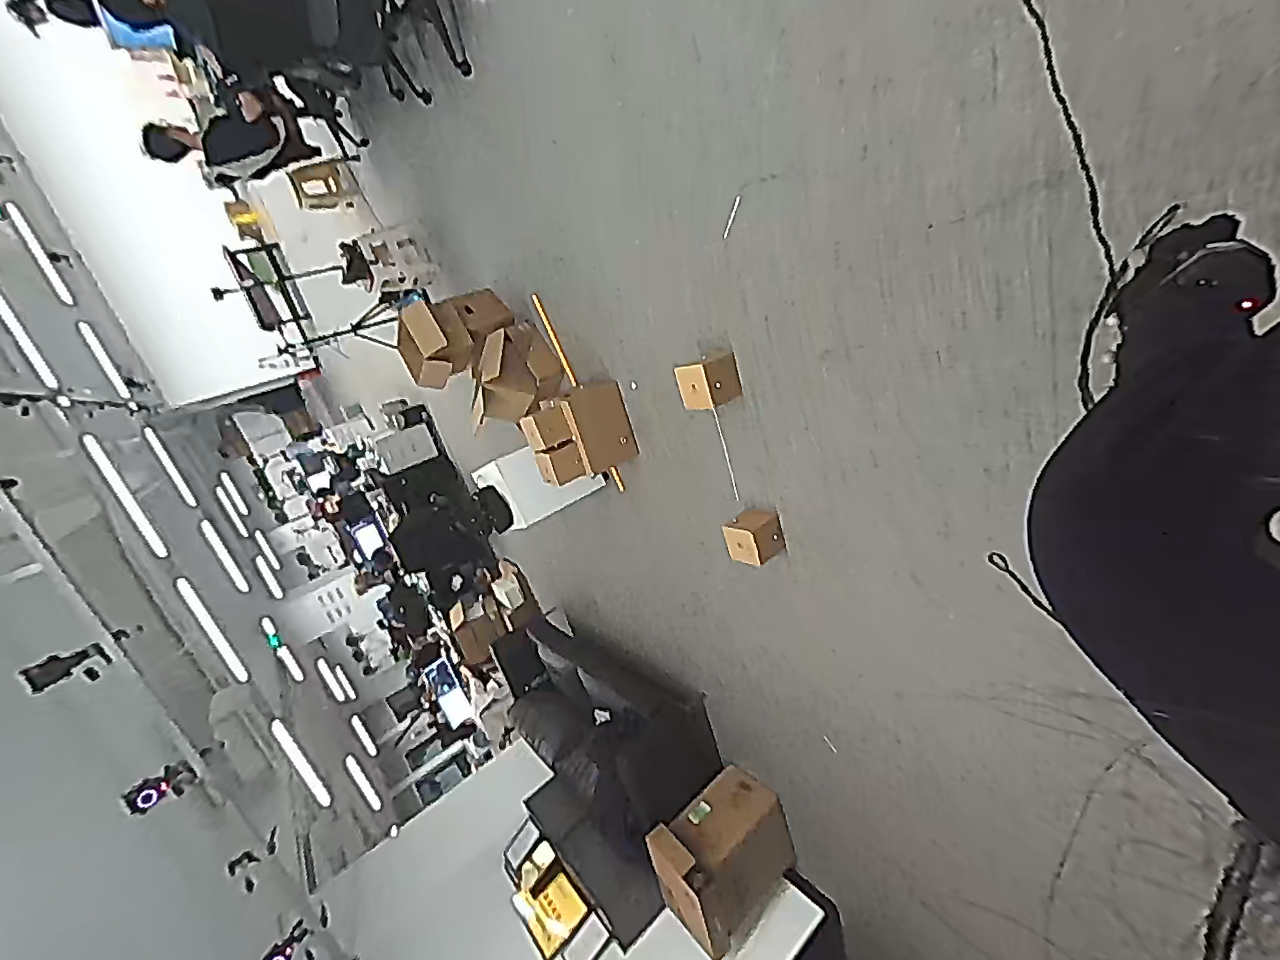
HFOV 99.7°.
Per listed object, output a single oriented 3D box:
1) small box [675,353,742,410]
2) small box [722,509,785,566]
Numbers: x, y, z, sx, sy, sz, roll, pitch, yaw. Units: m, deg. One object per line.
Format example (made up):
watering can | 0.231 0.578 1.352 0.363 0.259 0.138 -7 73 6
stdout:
small box | 0.267 -0.382 2.089 0.168 0.176 0.179 8 122 54
small box | 0.483 0.237 2.288 0.179 0.176 0.168 8 122 54
